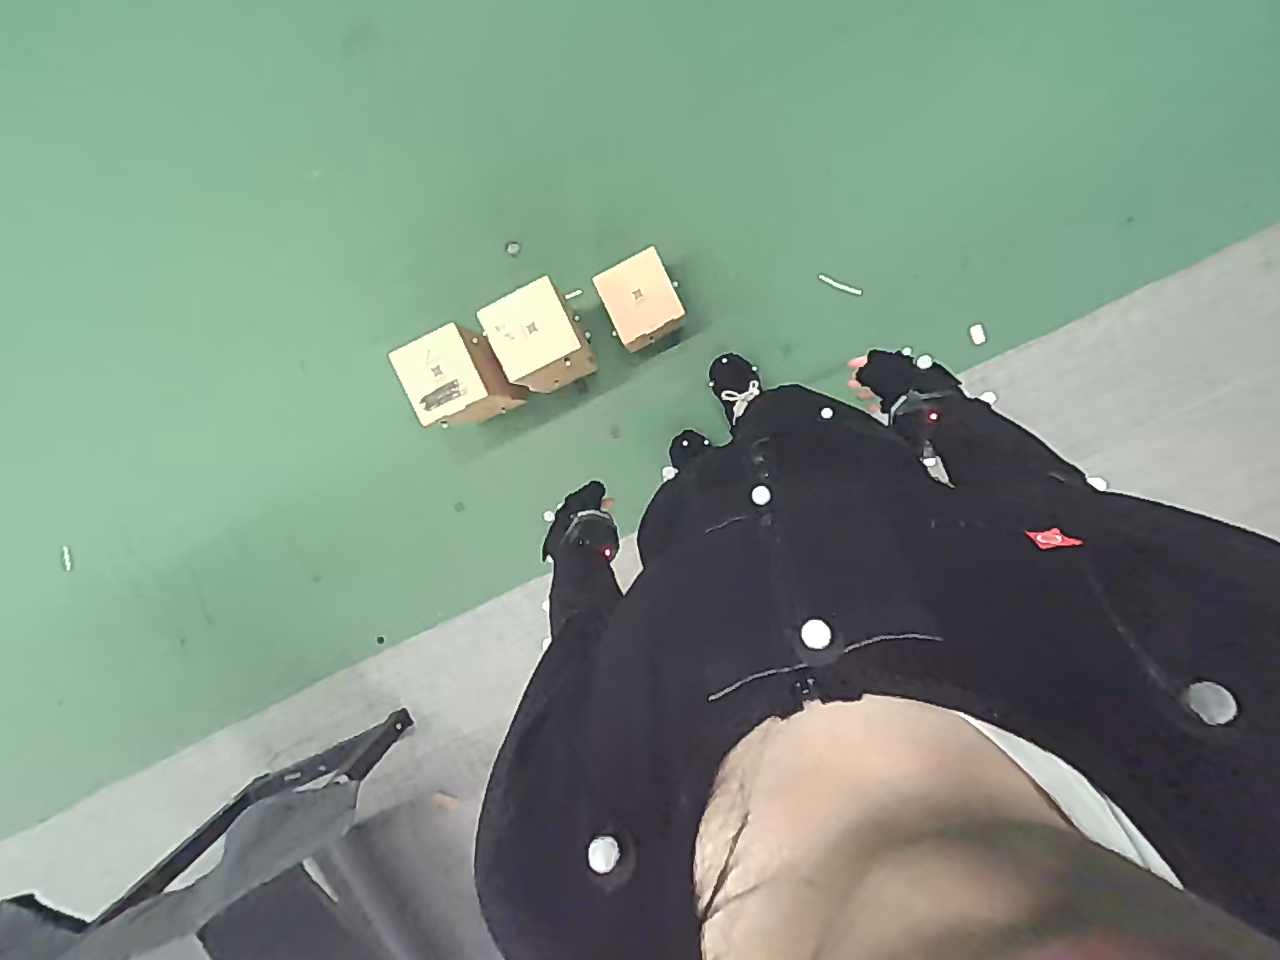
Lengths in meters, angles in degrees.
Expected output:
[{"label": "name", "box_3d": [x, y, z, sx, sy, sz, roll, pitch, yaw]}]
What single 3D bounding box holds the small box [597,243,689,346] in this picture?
[{"label": "small box", "box_3d": [0.010, -0.456, 1.359, 0.168, 0.176, 0.179, -26, 95, 7]}]
